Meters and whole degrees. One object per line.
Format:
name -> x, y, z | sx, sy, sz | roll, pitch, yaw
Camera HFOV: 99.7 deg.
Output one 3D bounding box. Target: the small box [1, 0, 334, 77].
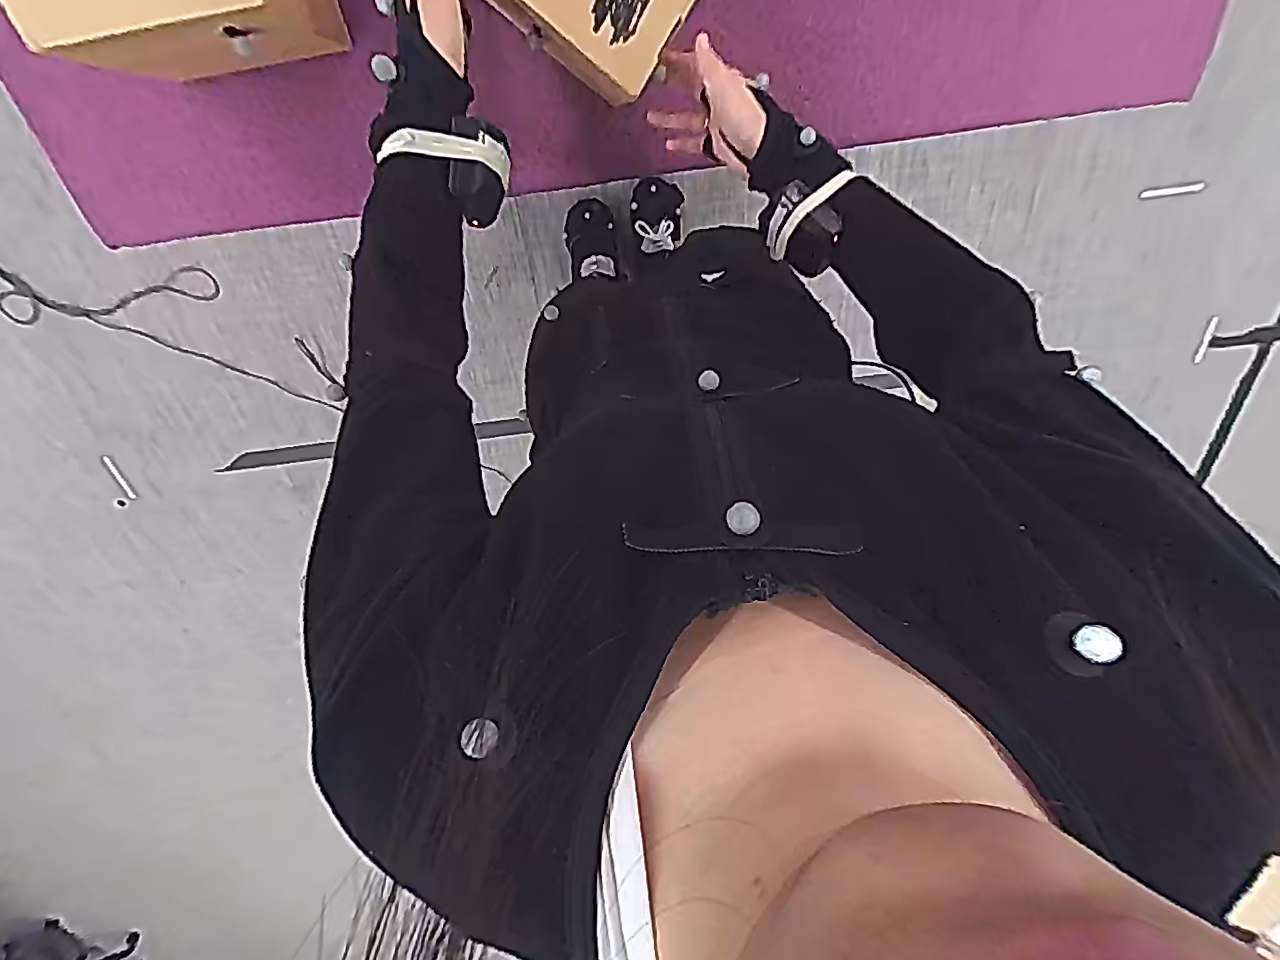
small box -> -0.365, -0.428, 0.408 | 0.179, 0.176, 0.168 | -10, 120, 1
